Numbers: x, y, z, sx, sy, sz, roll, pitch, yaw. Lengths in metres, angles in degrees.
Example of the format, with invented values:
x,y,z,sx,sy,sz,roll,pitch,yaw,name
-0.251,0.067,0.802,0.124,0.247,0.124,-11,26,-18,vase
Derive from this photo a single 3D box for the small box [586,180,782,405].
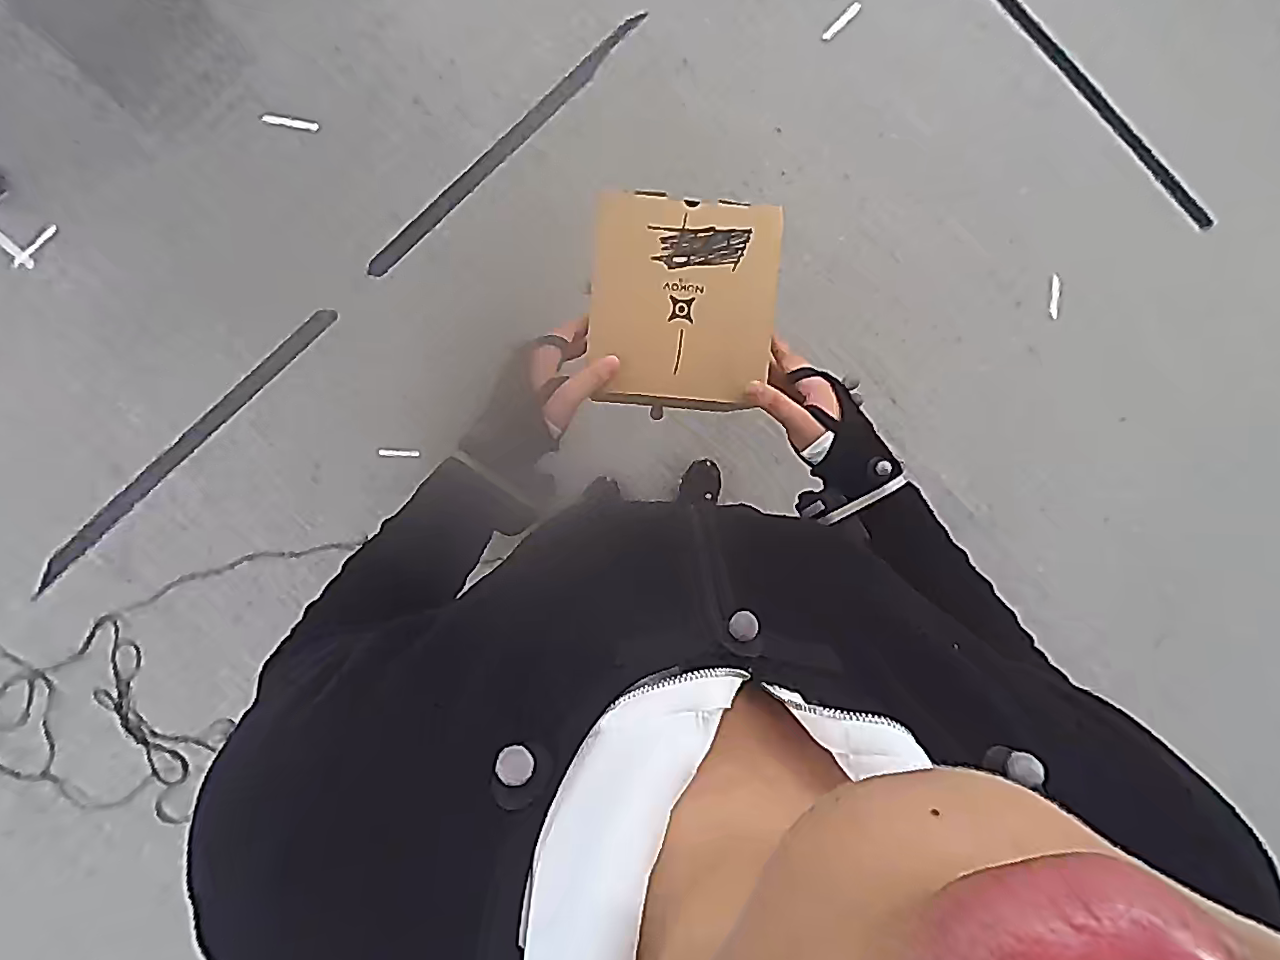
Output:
x,y,z,sx,sy,sz,roll,pitch,yaw,name
0.034,-0.175,0.557,0.168,0.176,0.179,4,95,-3,small box
